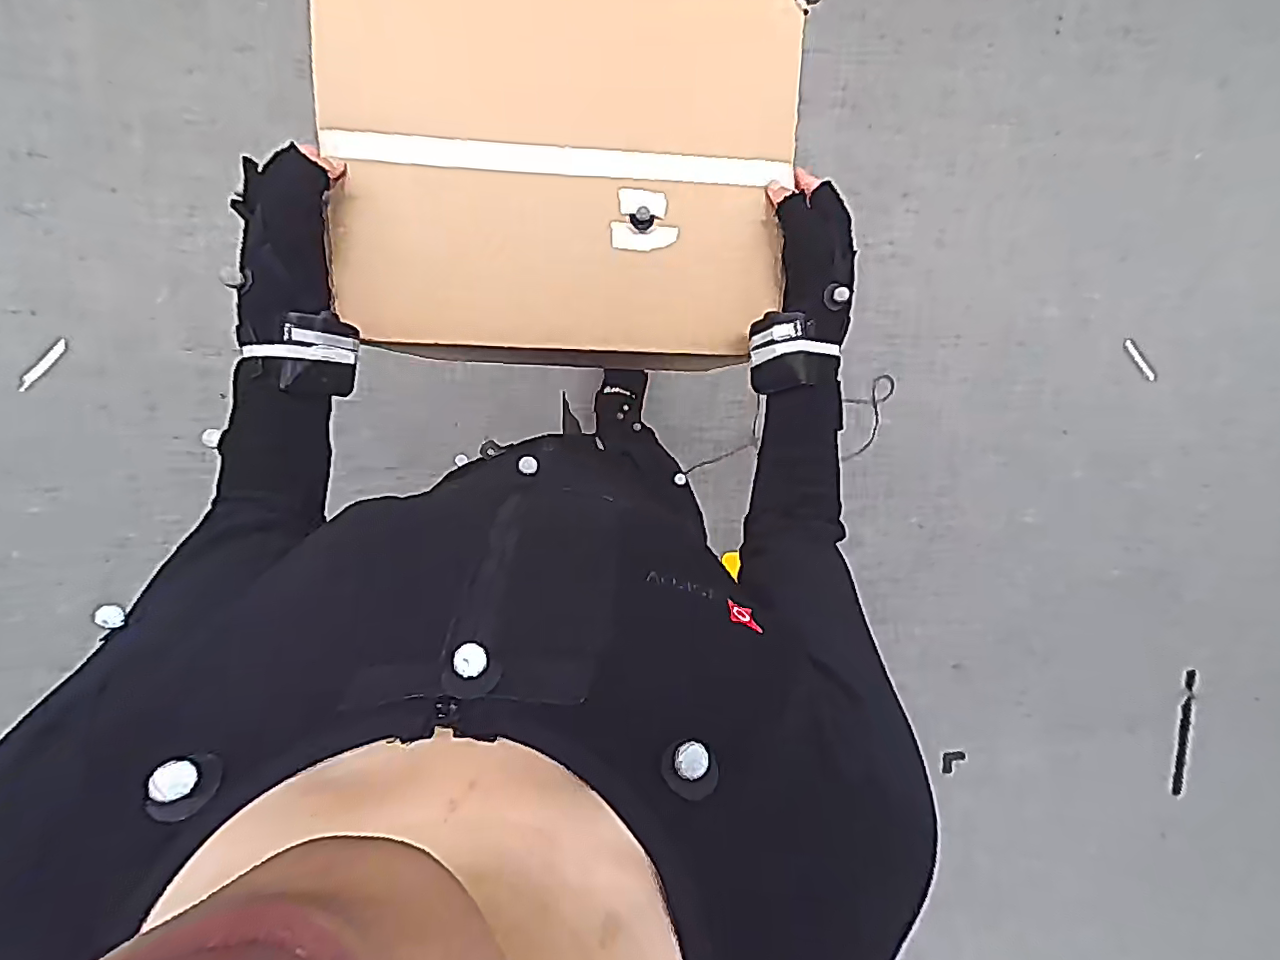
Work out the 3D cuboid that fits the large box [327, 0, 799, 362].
[{"bbox_3d":[-0.077,-0.305,0.620,0.408,0.320,0.320,1,99,-7],"label":"large box"}]
